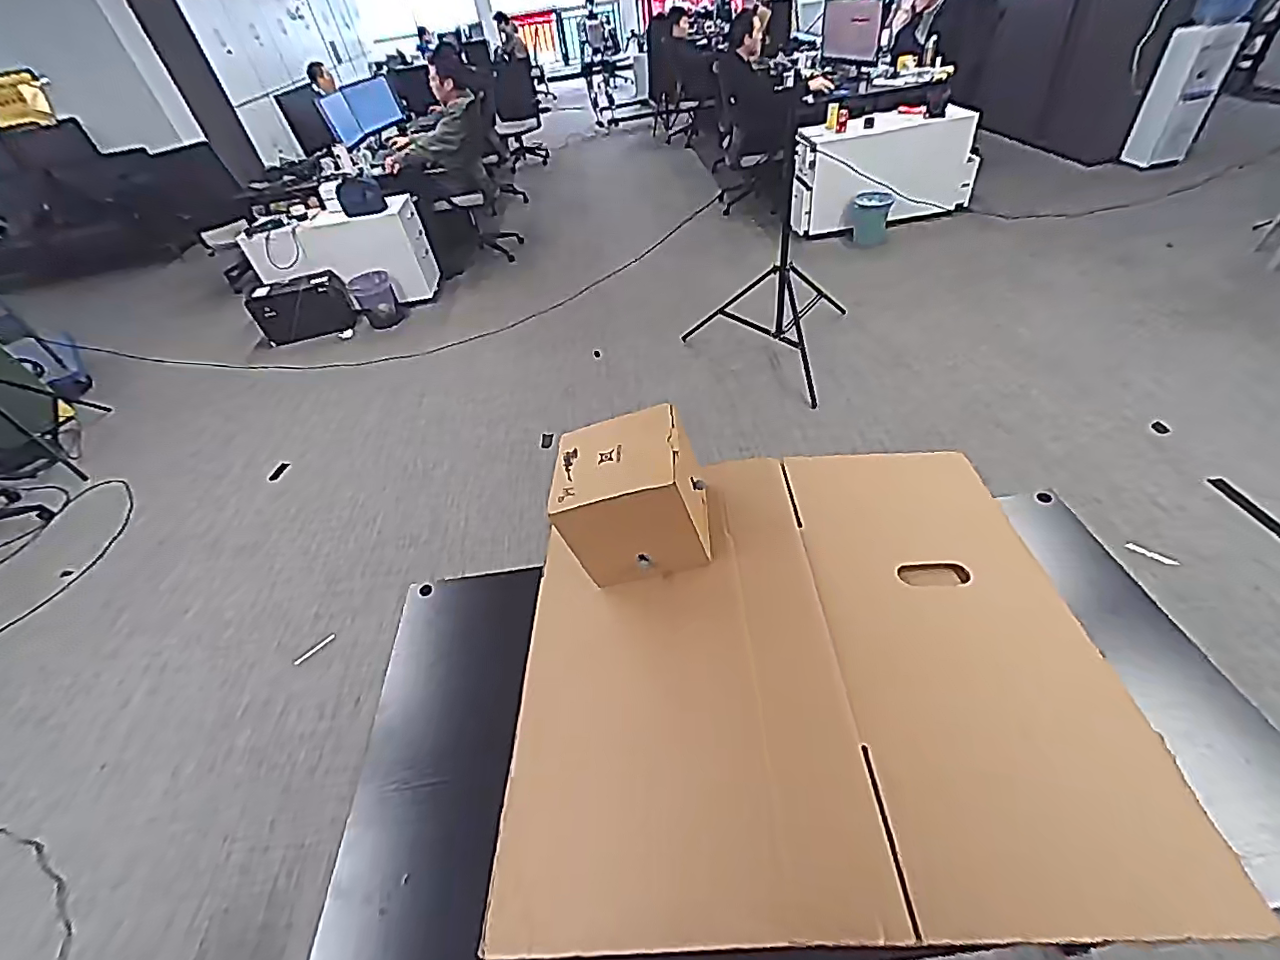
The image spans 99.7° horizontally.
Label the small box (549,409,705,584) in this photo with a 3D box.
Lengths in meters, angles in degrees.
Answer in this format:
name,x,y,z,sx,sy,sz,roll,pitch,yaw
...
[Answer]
name,x,y,z,sx,sy,sz,roll,pitch,yaw
small box,-0.008,0.028,0.783,0.179,0.176,0.168,-14,41,14
